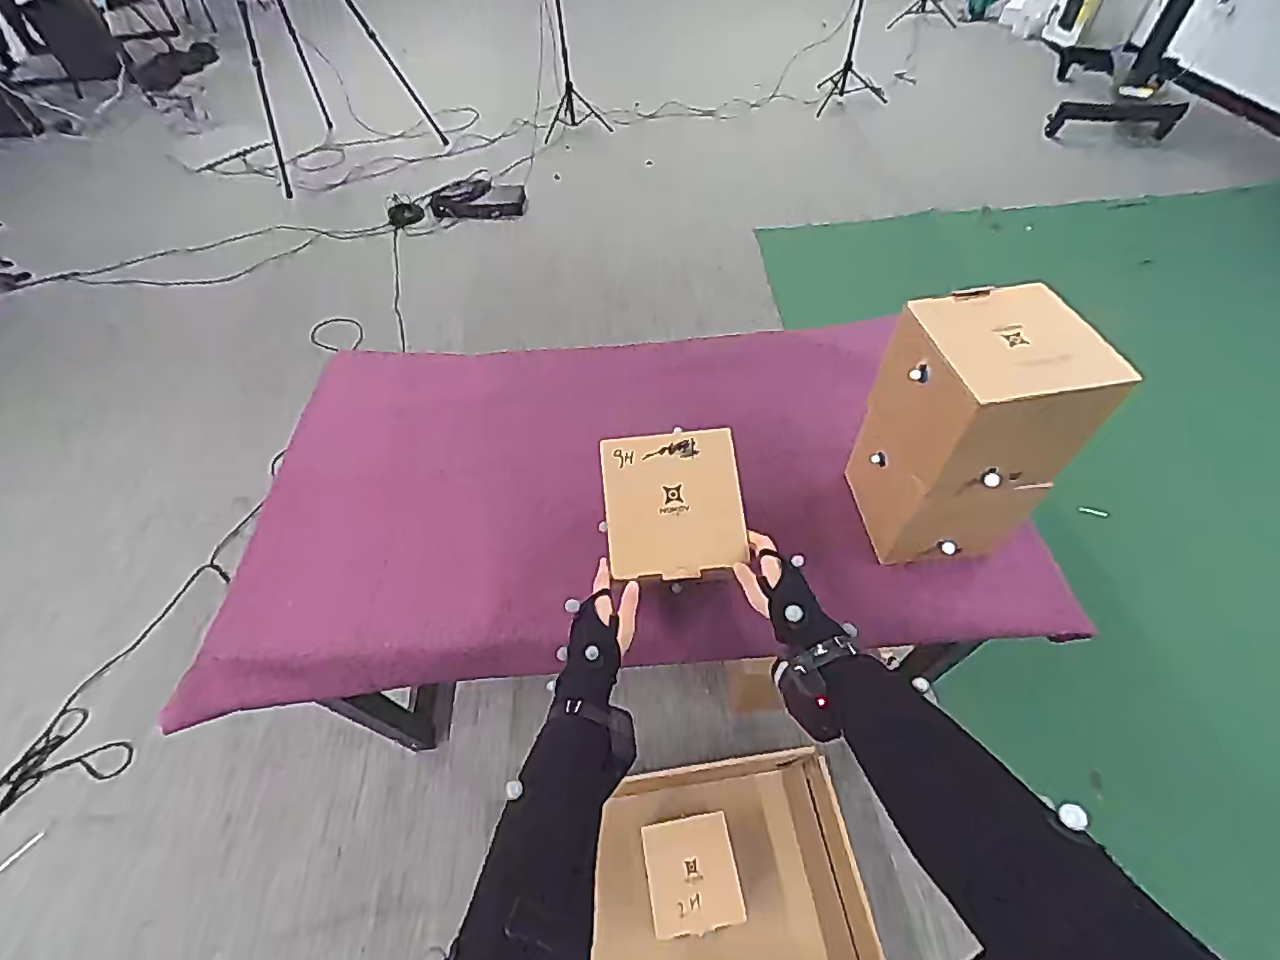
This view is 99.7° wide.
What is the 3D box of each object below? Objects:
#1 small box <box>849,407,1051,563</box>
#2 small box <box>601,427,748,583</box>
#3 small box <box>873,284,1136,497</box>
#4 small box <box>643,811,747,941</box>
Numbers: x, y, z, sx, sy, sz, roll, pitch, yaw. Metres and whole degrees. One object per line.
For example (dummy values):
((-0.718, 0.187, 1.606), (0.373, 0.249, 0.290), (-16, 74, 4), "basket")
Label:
((0.417, -0.003, 0.769), (0.168, 0.176, 0.179), (-6, 52, 1), "small box")
((0.041, 0.044, 0.728), (0.168, 0.176, 0.179), (-5, 74, -1), "small box")
((0.402, -0.104, 0.642), (0.168, 0.176, 0.179), (-8, 52, -1), "small box")
((0.099, 0.769, 1.056), (0.168, 0.176, 0.179), (-9, 54, -3), "small box")
